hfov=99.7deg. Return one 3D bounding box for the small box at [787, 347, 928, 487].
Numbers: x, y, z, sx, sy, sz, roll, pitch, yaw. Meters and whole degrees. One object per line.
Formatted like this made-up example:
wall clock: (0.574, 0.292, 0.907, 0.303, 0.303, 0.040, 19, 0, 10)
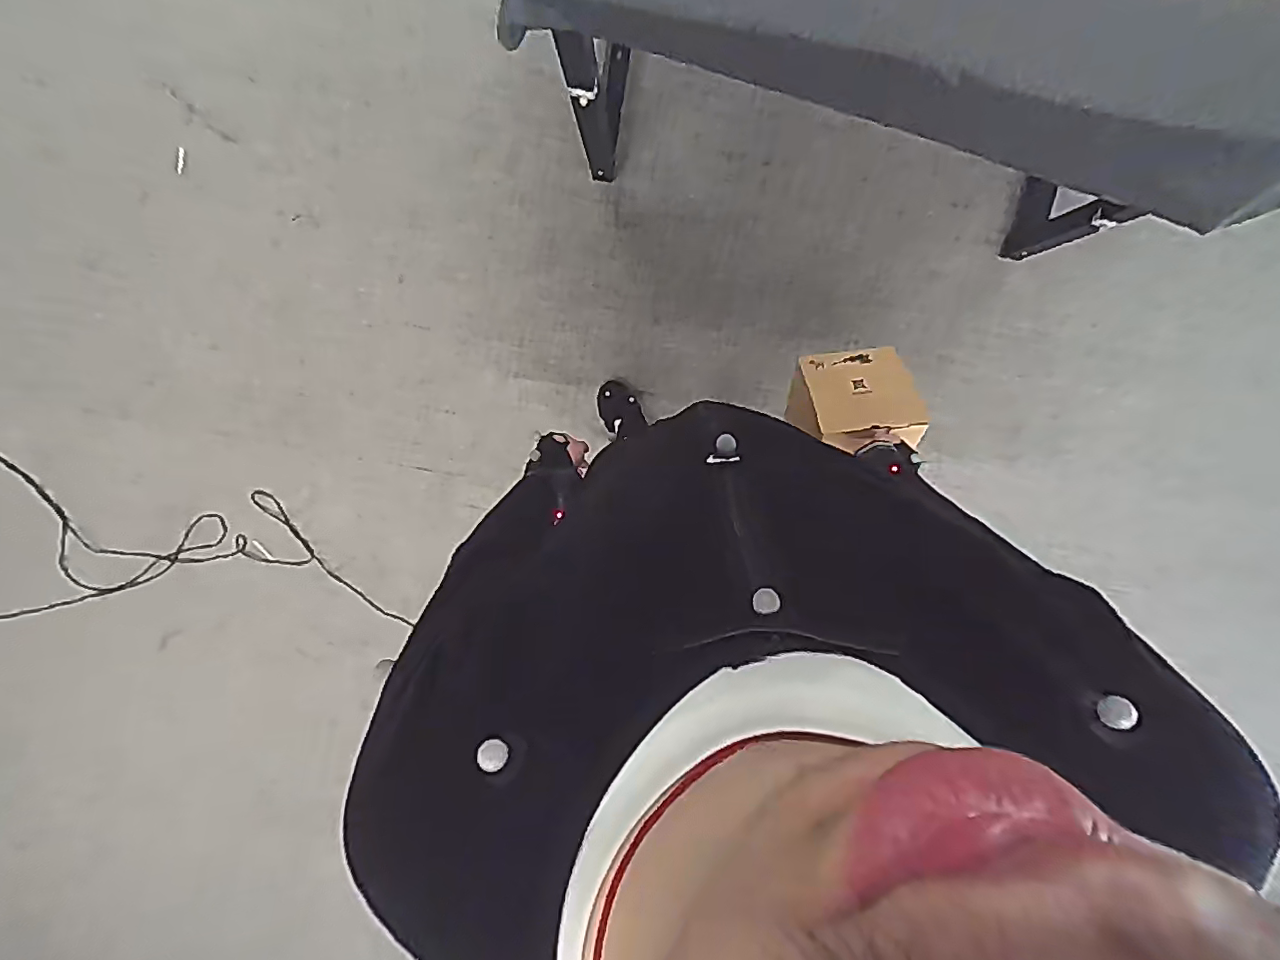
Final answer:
small box: (0.365, -0.100, 0.944, 0.168, 0.176, 0.179, -8, 56, 2)
